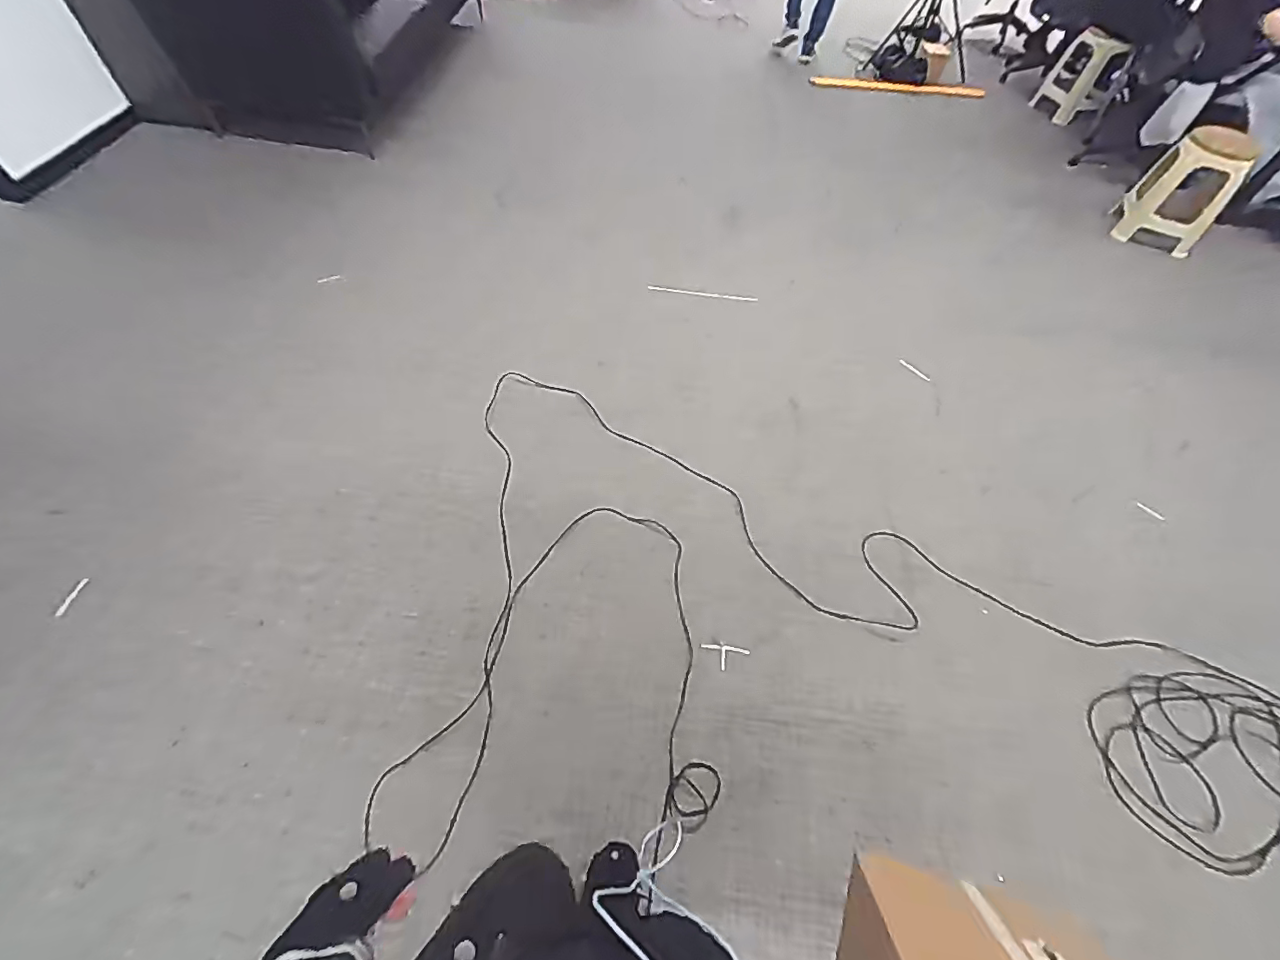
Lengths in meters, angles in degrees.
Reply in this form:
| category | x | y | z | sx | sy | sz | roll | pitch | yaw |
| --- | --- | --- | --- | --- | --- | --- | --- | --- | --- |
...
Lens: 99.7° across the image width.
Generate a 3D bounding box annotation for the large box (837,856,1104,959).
| category | x | y | z | sx | sy | sz | roll | pitch | yaw |
| --- | --- | --- | --- | --- | --- | --- | --- | --- | --- |
| large box | 0.417 | 0.737 | 0.606 | 0.320 | 0.408 | 0.320 | 13 | 86 | 10 |
